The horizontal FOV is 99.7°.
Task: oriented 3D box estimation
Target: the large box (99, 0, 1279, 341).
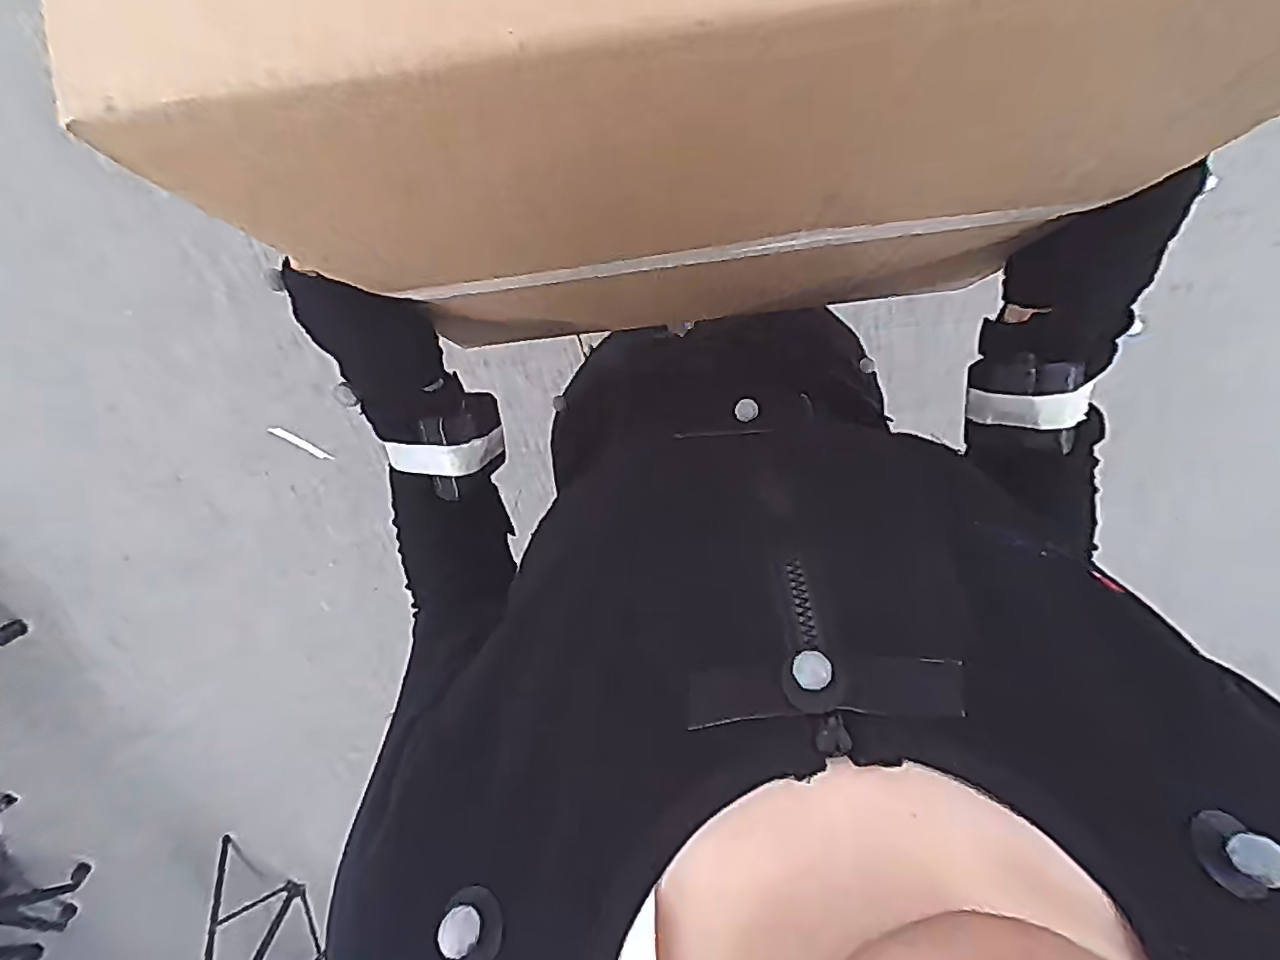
[{"bbox_3d":[0.032,-0.282,0.287,0.408,0.320,0.320,-6,93,2],"label":"large box"}]
